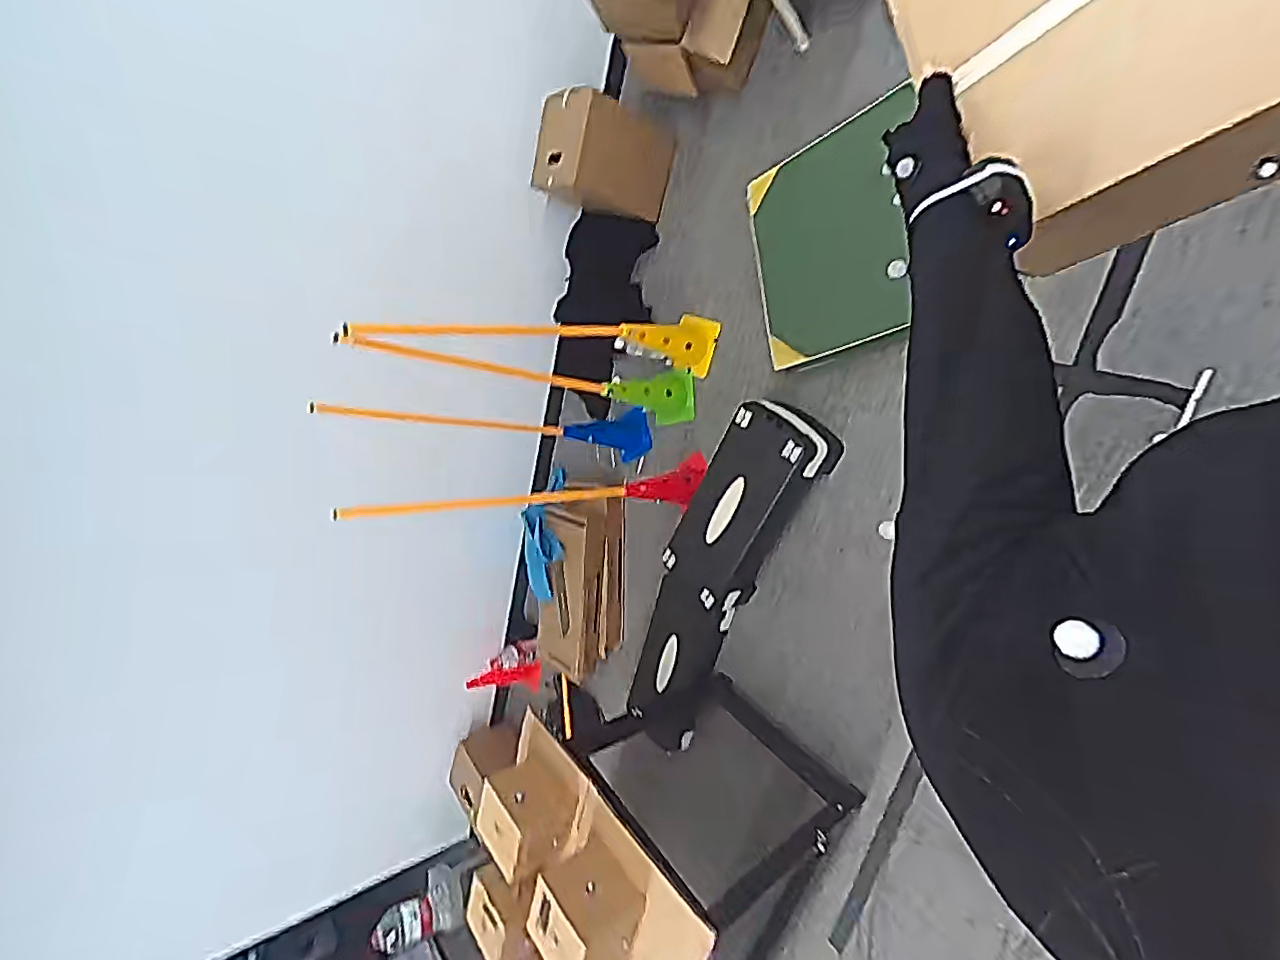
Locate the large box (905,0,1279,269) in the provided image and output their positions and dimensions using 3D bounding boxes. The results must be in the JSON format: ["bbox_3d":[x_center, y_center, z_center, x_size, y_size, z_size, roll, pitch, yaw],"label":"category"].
[{"bbox_3d":[0.538,-0.448,0.500,0.408,0.320,0.320,-19,85,47],"label":"large box"}]
